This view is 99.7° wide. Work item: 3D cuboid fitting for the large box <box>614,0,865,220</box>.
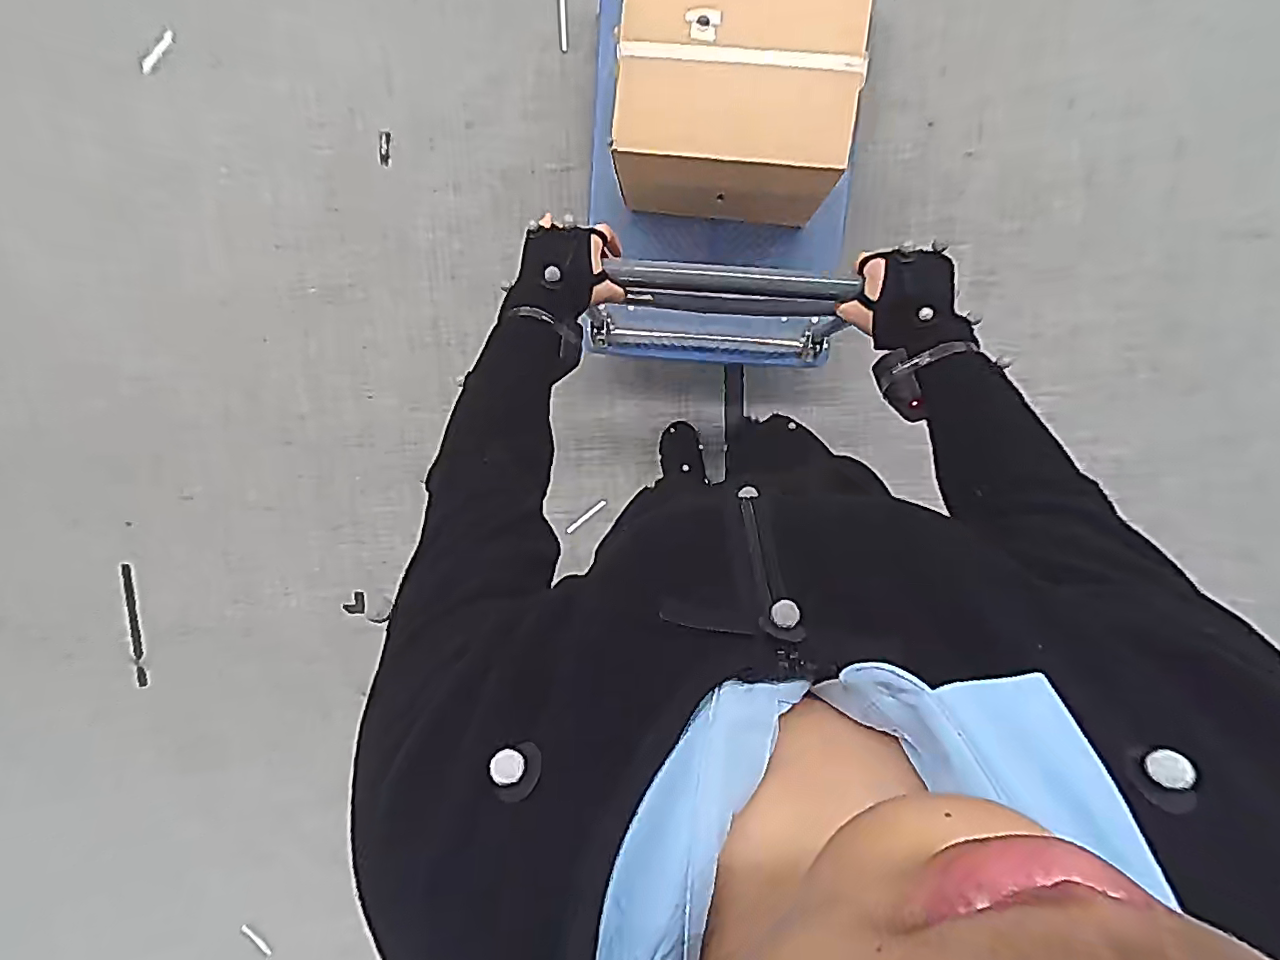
[{"bbox_3d":[0.176,-0.727,1.058,0.408,0.320,0.320,6,98,4],"label":"large box"}]
